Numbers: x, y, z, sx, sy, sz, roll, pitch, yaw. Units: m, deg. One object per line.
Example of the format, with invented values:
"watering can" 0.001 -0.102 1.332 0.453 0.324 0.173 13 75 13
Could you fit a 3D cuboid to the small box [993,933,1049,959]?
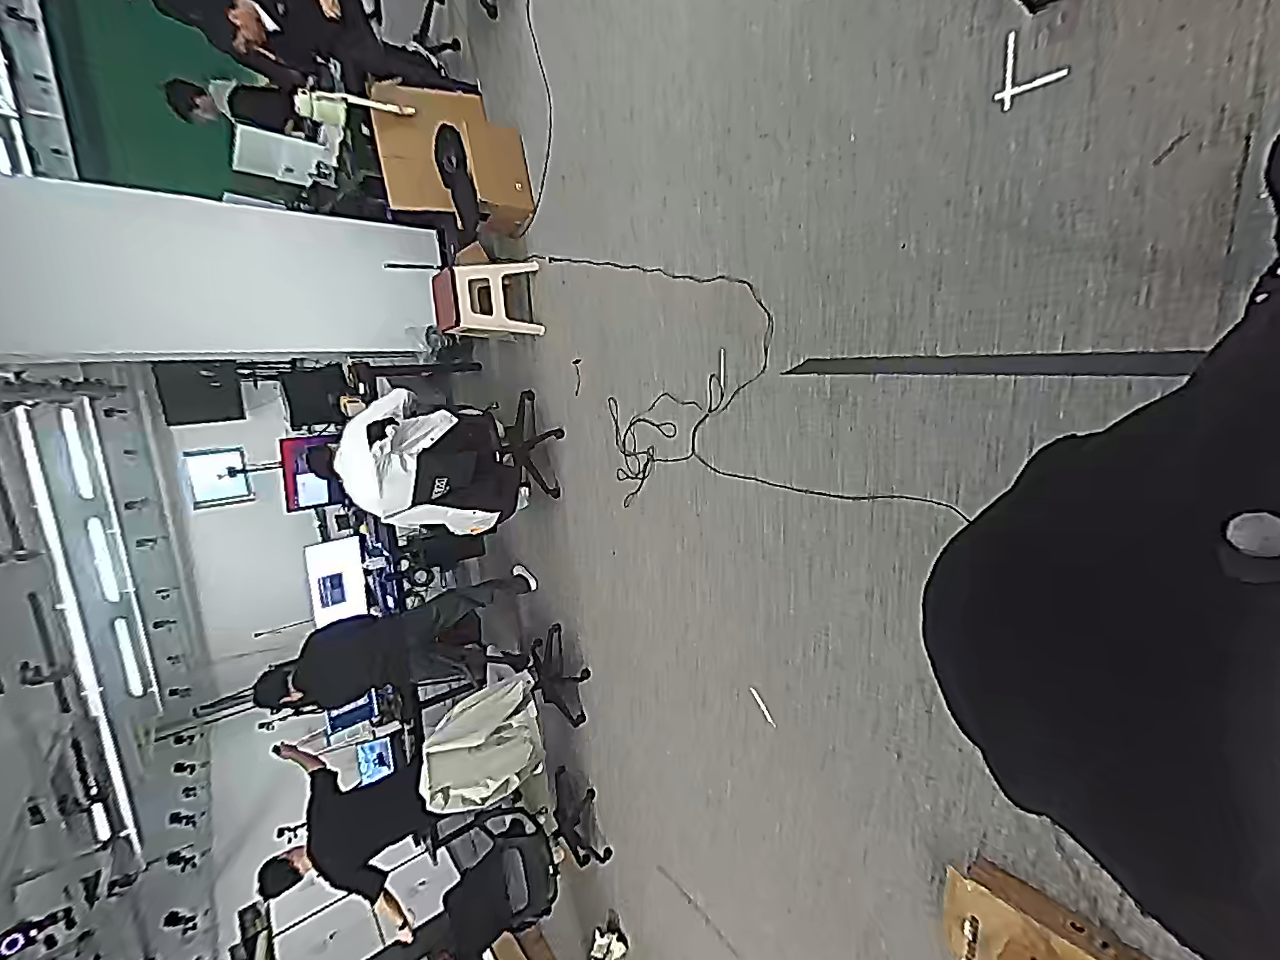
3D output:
"small box" 0.960 1.286 1.327 0.168 0.176 0.179 12 109 51
